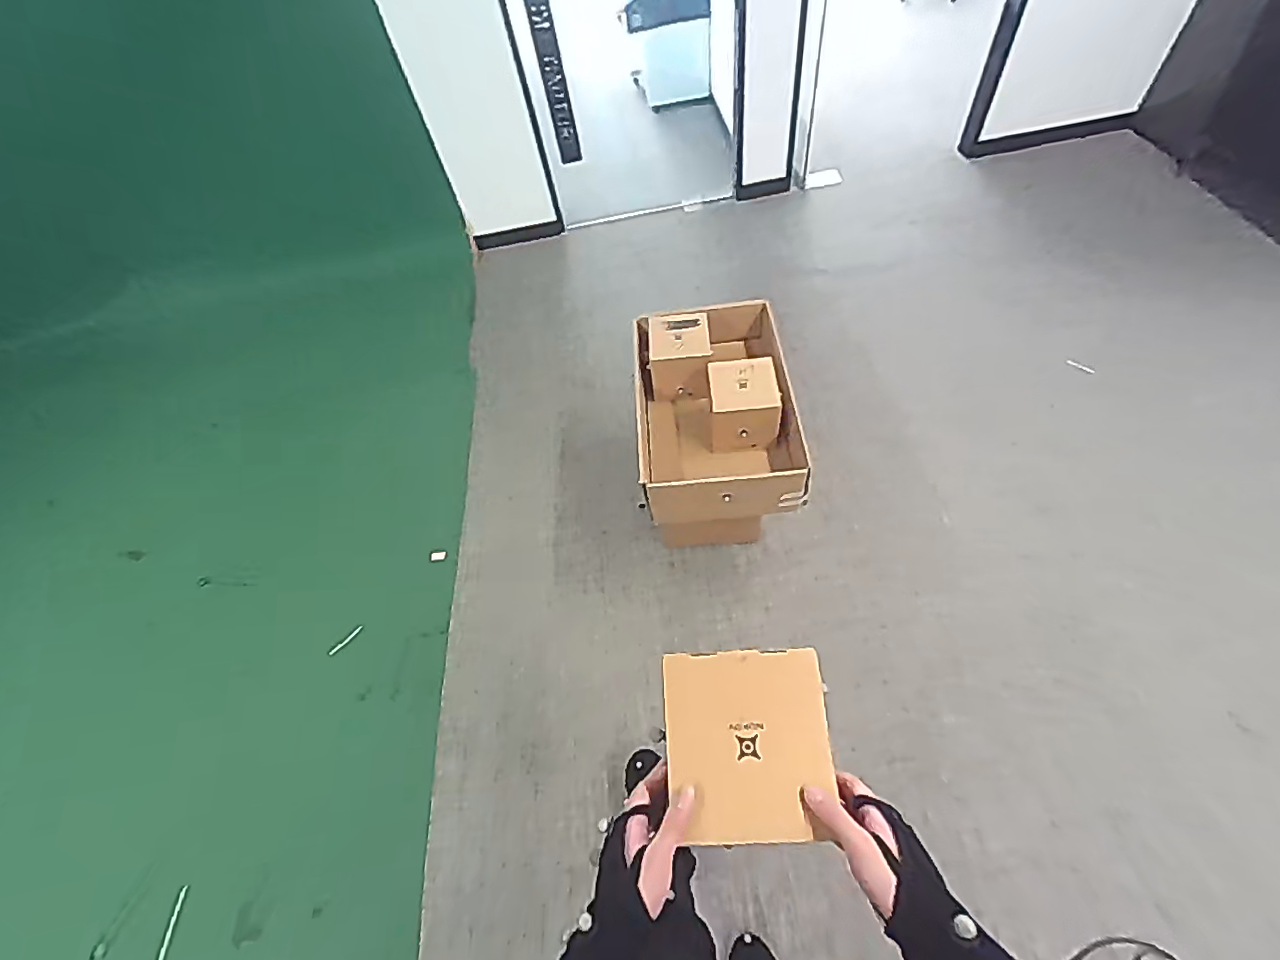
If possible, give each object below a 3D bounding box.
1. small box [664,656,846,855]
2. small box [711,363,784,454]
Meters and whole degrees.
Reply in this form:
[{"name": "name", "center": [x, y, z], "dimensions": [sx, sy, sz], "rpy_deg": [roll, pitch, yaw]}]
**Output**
[{"name": "small box", "center": [0.113, 0.299, 0.606], "dimensions": [0.168, 0.176, 0.179], "rpy_deg": [-3, 65, 2]}, {"name": "small box", "center": [0.274, -0.178, 1.405], "dimensions": [0.168, 0.176, 0.179], "rpy_deg": [-3, 55, 5]}]
